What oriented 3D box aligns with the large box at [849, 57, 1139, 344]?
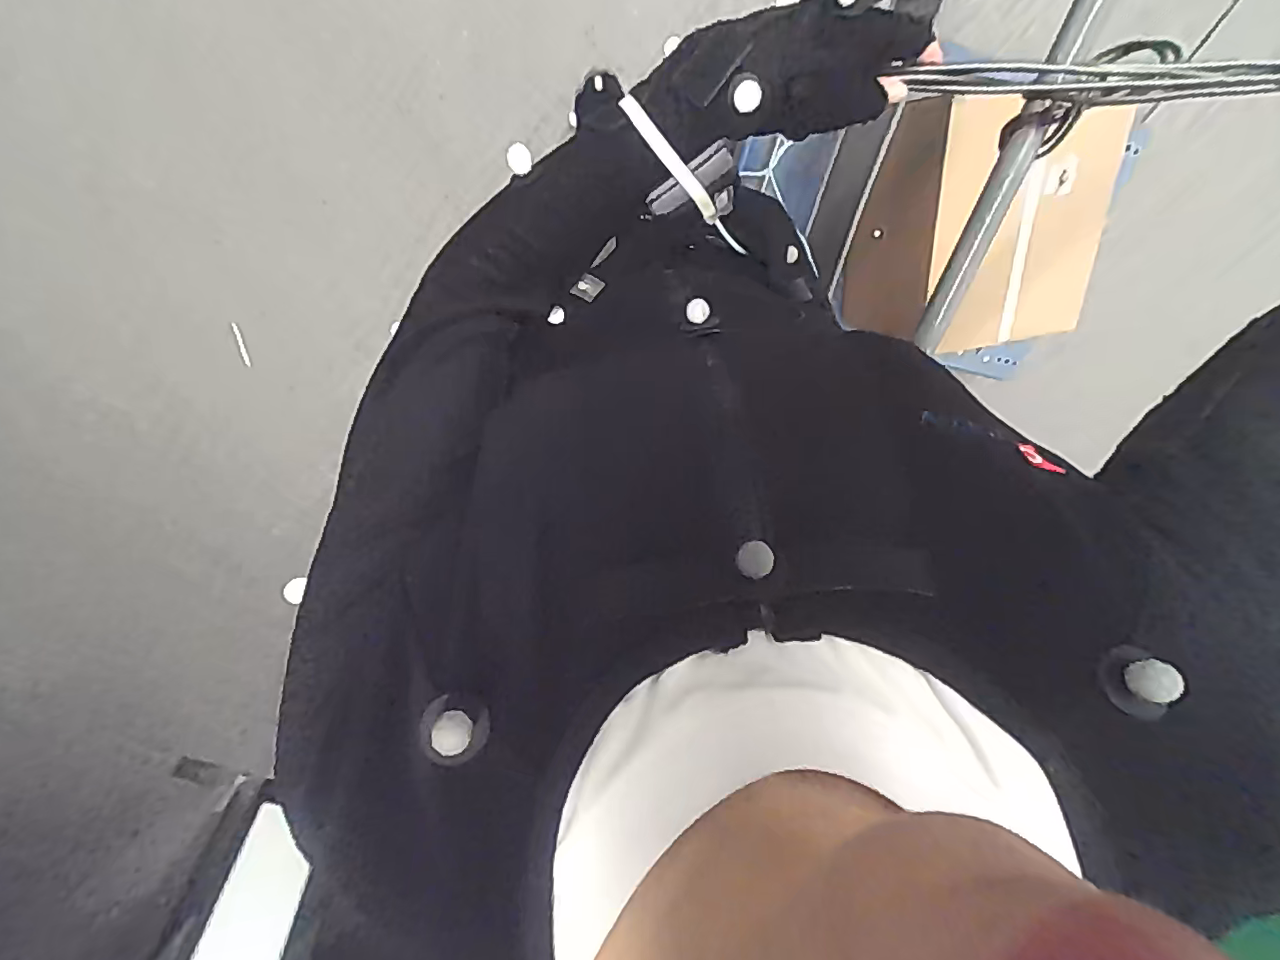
[{"bbox_3d":[0.623,-0.517,1.043,0.320,0.320,0.408,-10,119,-3],"label":"large box"}]
